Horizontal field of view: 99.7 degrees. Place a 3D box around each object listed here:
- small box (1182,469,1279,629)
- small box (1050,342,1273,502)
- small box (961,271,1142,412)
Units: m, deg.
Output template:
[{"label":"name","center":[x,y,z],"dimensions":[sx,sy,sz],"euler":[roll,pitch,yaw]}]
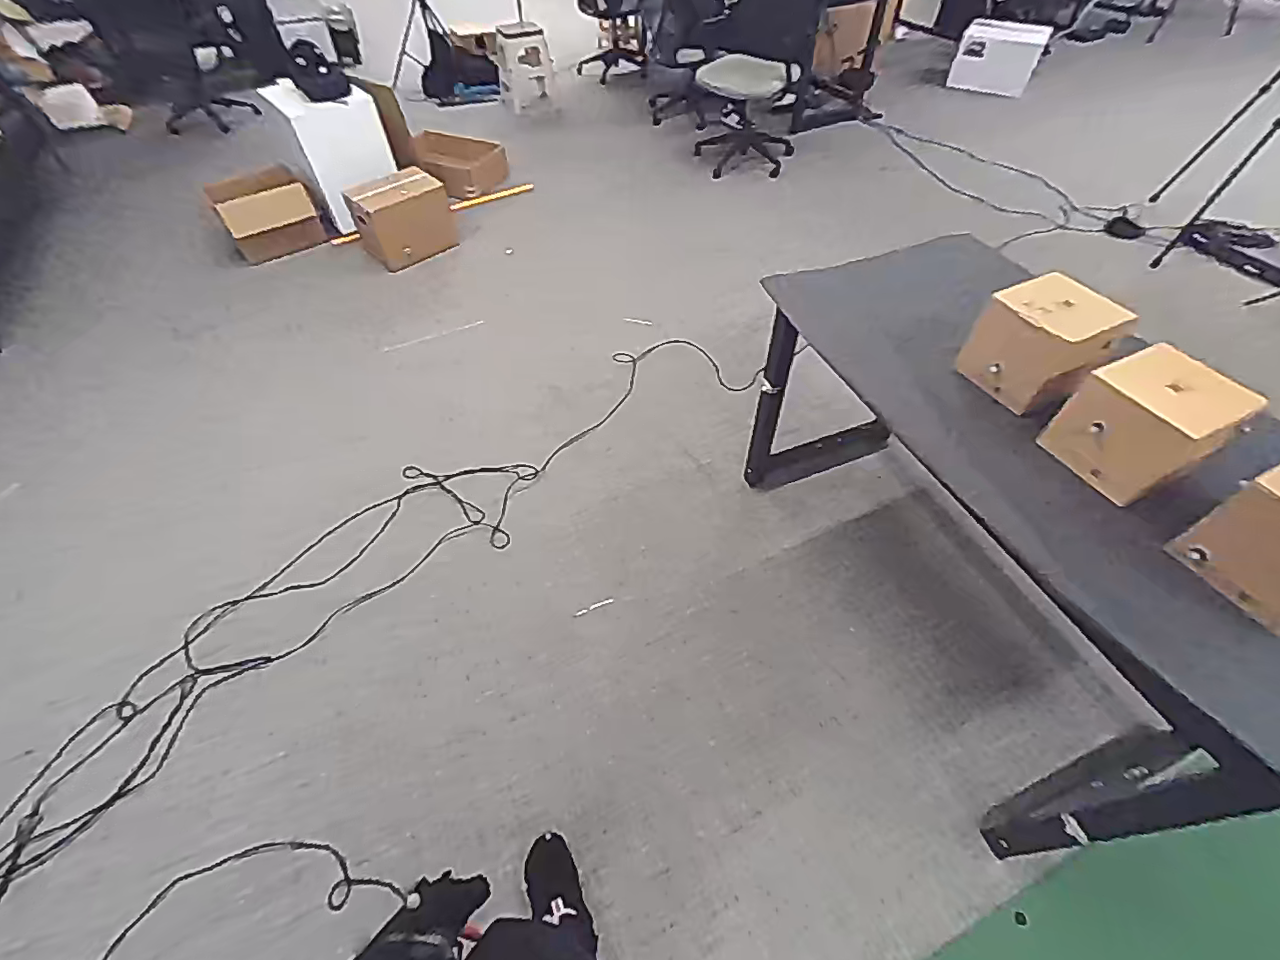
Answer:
[{"label":"small box","center":[0.914,0.080,0.736],"dimensions":[0.179,0.176,0.168],"euler":[-20,54,-16]},{"label":"small box","center":[0.821,-0.090,0.878],"dimensions":[0.179,0.176,0.168],"euler":[-20,53,-15]},{"label":"small box","center":[0.752,-0.257,1.011],"dimensions":[0.179,0.176,0.168],"euler":[-21,54,-15]}]
